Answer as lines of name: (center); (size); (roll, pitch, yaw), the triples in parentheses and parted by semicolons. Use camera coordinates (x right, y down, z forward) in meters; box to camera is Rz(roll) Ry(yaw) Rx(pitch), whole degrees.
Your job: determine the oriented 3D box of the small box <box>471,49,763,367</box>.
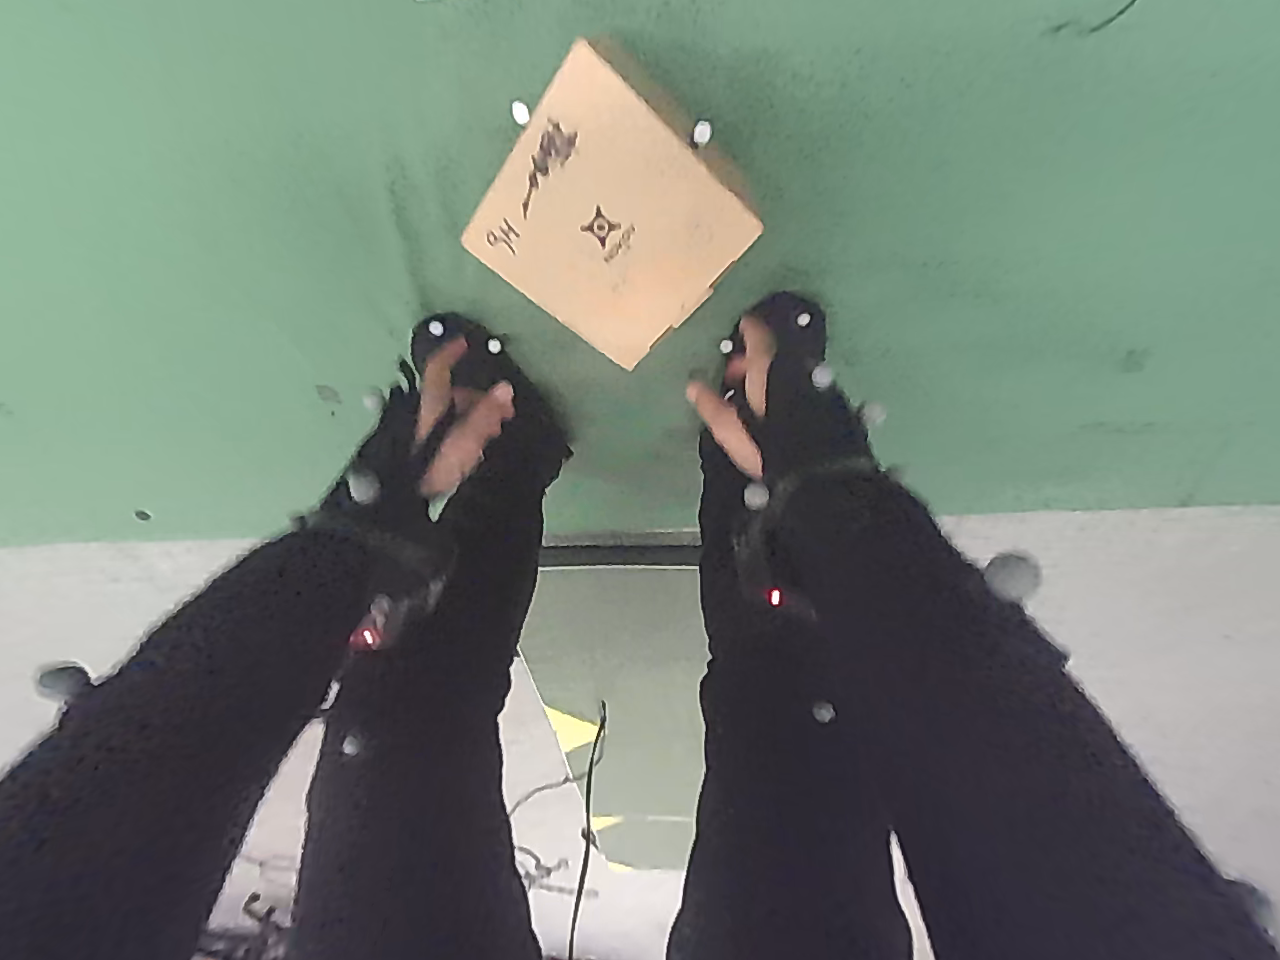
small box: (-0.015, -0.244, 0.484); (0.179, 0.176, 0.168); (34, 125, -24)
